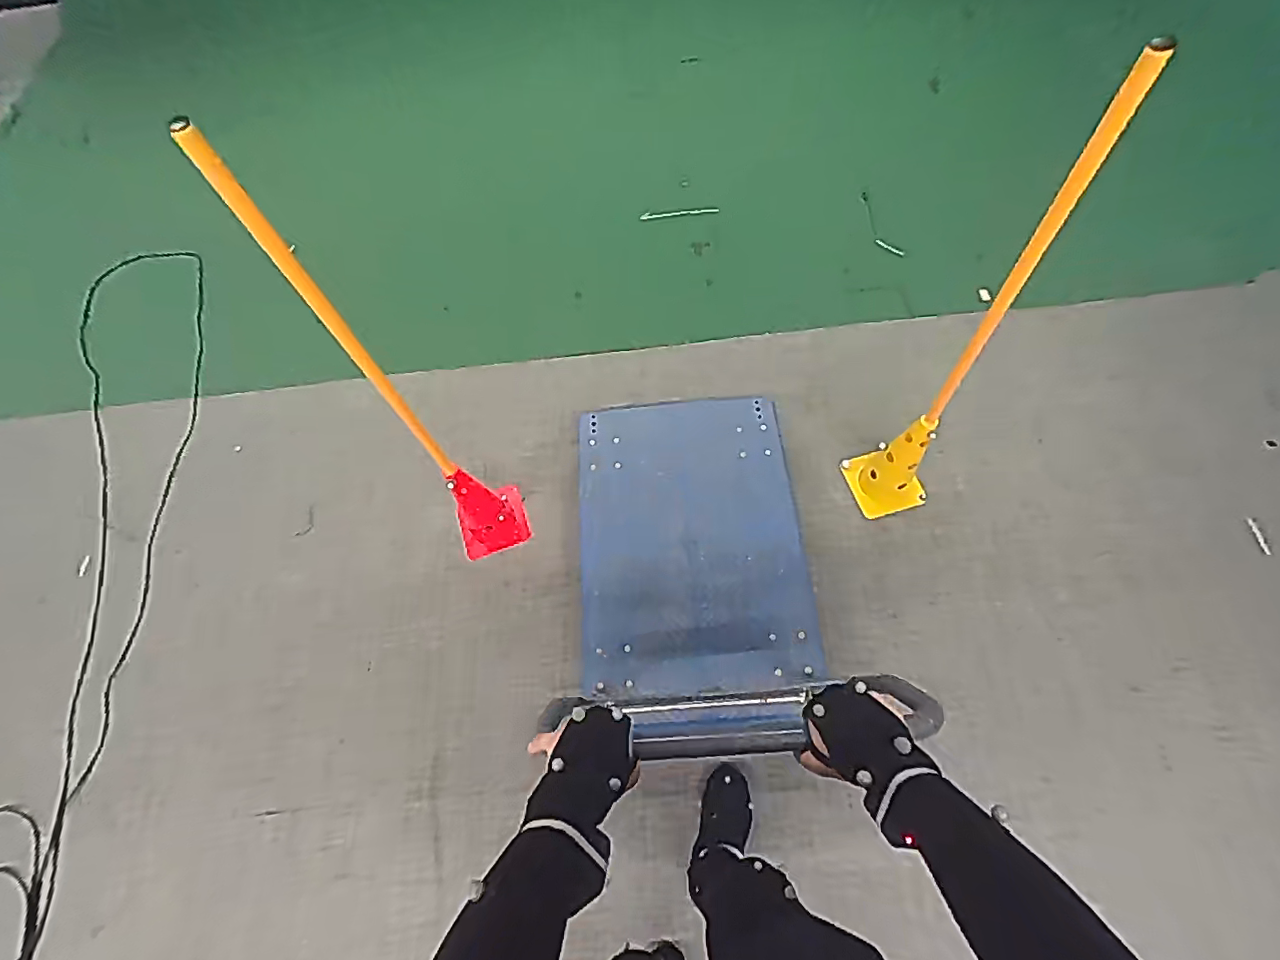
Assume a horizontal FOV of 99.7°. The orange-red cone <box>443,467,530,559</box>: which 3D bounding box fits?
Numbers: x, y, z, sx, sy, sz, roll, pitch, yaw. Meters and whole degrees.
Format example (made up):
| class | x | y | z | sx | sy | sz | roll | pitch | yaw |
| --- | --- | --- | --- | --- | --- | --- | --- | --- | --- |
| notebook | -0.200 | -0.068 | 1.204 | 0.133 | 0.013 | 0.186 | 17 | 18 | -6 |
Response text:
| class | x | y | z | sx | sy | sz | roll | pitch | yaw |
| --- | --- | --- | --- | --- | --- | --- | --- | --- | --- |
| orange-red cone | -0.460 | 0.059 | 1.499 | 0.199 | 0.360 | 0.198 | -20 | 64 | -3 |
